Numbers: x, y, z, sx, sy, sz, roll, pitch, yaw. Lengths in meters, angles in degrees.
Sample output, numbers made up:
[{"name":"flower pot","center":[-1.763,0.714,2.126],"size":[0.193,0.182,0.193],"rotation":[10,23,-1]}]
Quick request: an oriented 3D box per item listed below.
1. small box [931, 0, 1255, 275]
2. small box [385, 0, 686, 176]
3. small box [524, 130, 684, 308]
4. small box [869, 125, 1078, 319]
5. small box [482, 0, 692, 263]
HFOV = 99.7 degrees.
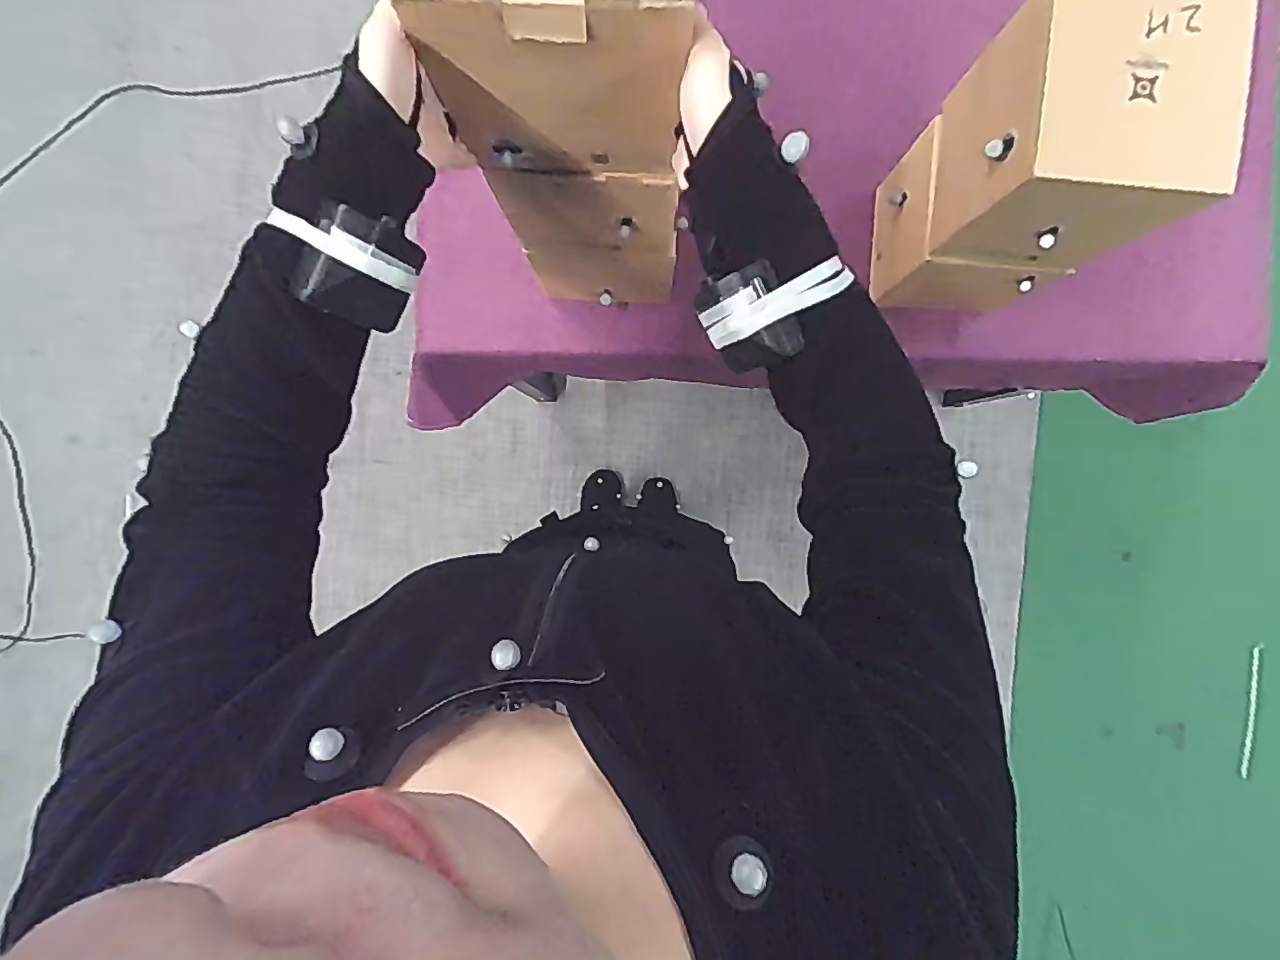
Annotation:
[{"name":"small box","center":[0.408,-0.316,0.521],"size":[0.168,0.176,0.179],"rotation":[6,90,0]},{"name":"small box","center":[-0.051,-0.334,0.365],"size":[0.168,0.176,0.179],"rotation":[2,91,0]},{"name":"small box","center":[-0.041,-0.329,0.694],"size":[0.179,0.176,0.168],"rotation":[3,90,0]},{"name":"small box","center":[0.411,-0.312,0.686],"size":[0.179,0.176,0.168],"rotation":[4,91,1]},{"name":"small box","center":[-0.043,-0.332,0.530],"size":[0.168,0.176,0.179],"rotation":[5,90,1]}]
